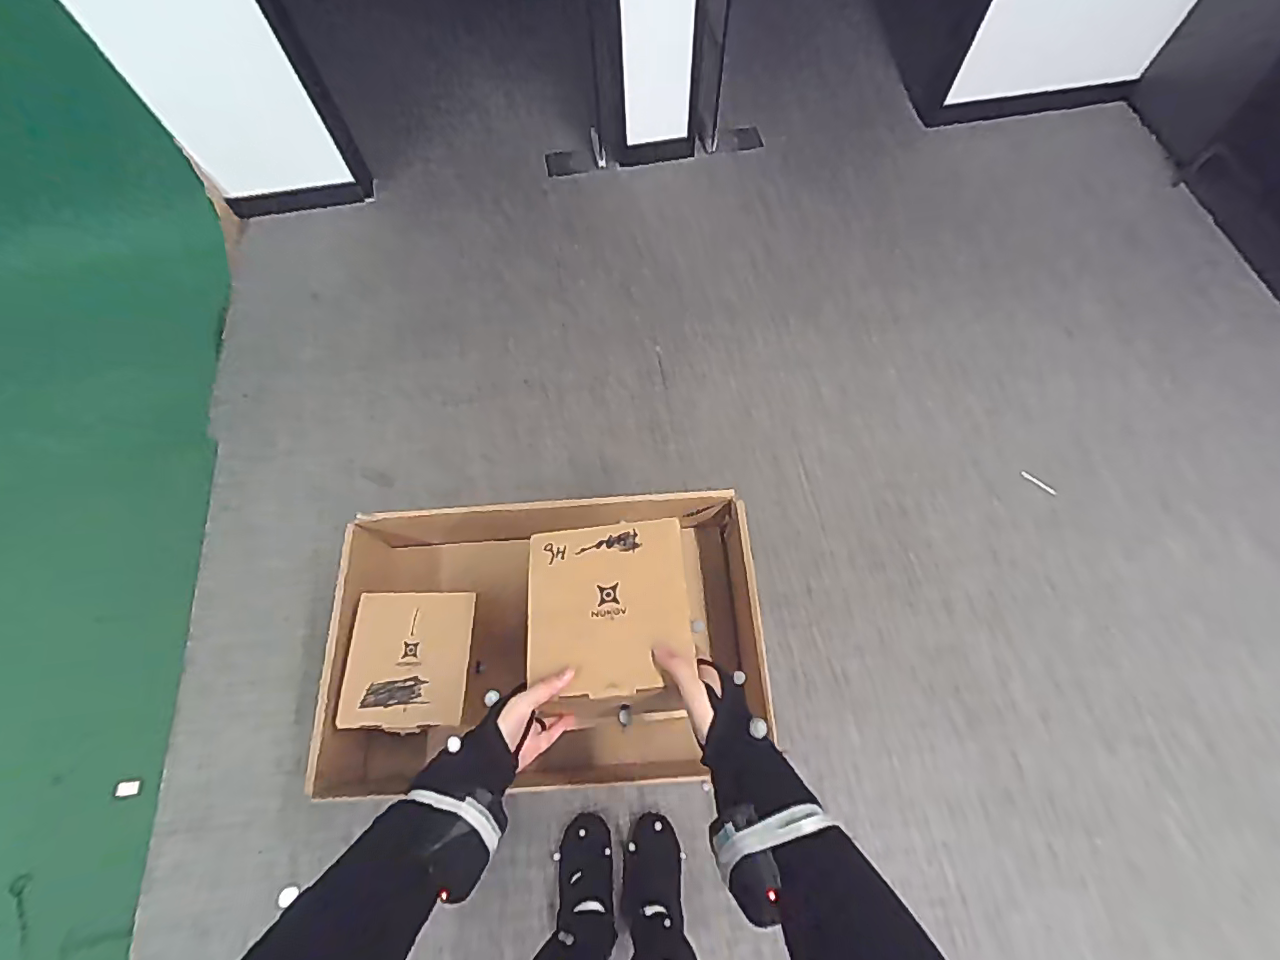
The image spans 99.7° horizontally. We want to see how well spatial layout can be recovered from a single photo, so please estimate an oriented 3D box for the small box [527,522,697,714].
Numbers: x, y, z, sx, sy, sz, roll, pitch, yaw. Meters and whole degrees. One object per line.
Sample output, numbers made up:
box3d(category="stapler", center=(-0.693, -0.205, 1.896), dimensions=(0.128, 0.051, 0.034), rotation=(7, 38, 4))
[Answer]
box3d(category="small box", center=(-0.024, 0.166, 0.618), dimensions=(0.168, 0.176, 0.179), rotation=(-6, 61, 3))
